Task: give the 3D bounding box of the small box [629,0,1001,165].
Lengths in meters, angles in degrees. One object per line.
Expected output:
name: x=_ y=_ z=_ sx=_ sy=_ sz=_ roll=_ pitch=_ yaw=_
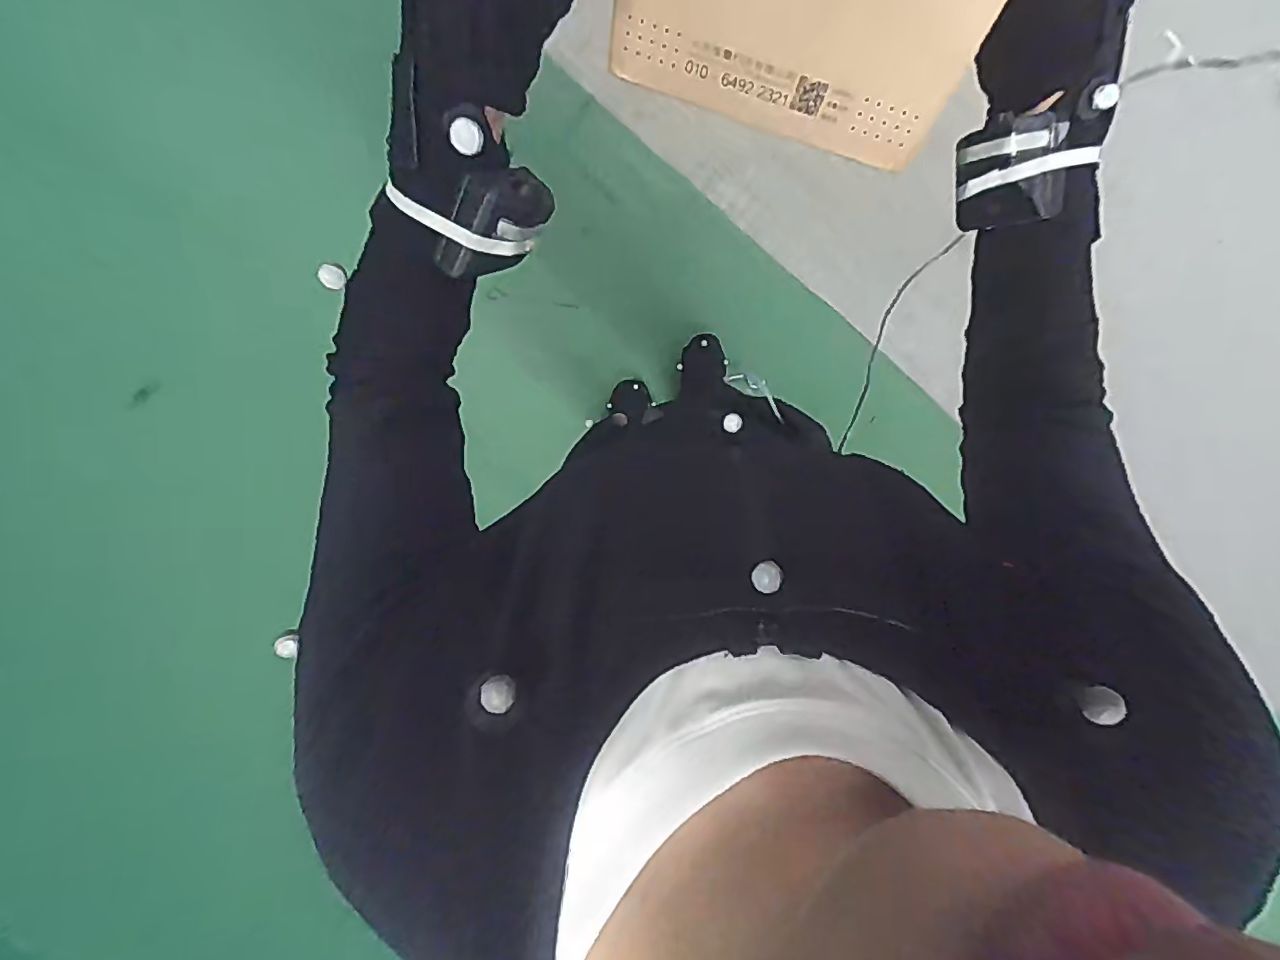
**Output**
small box: x=0.103 y=-0.300 z=0.269 sx=0.168 sy=0.176 sz=0.179 roll=21 pitch=56 yaw=0
